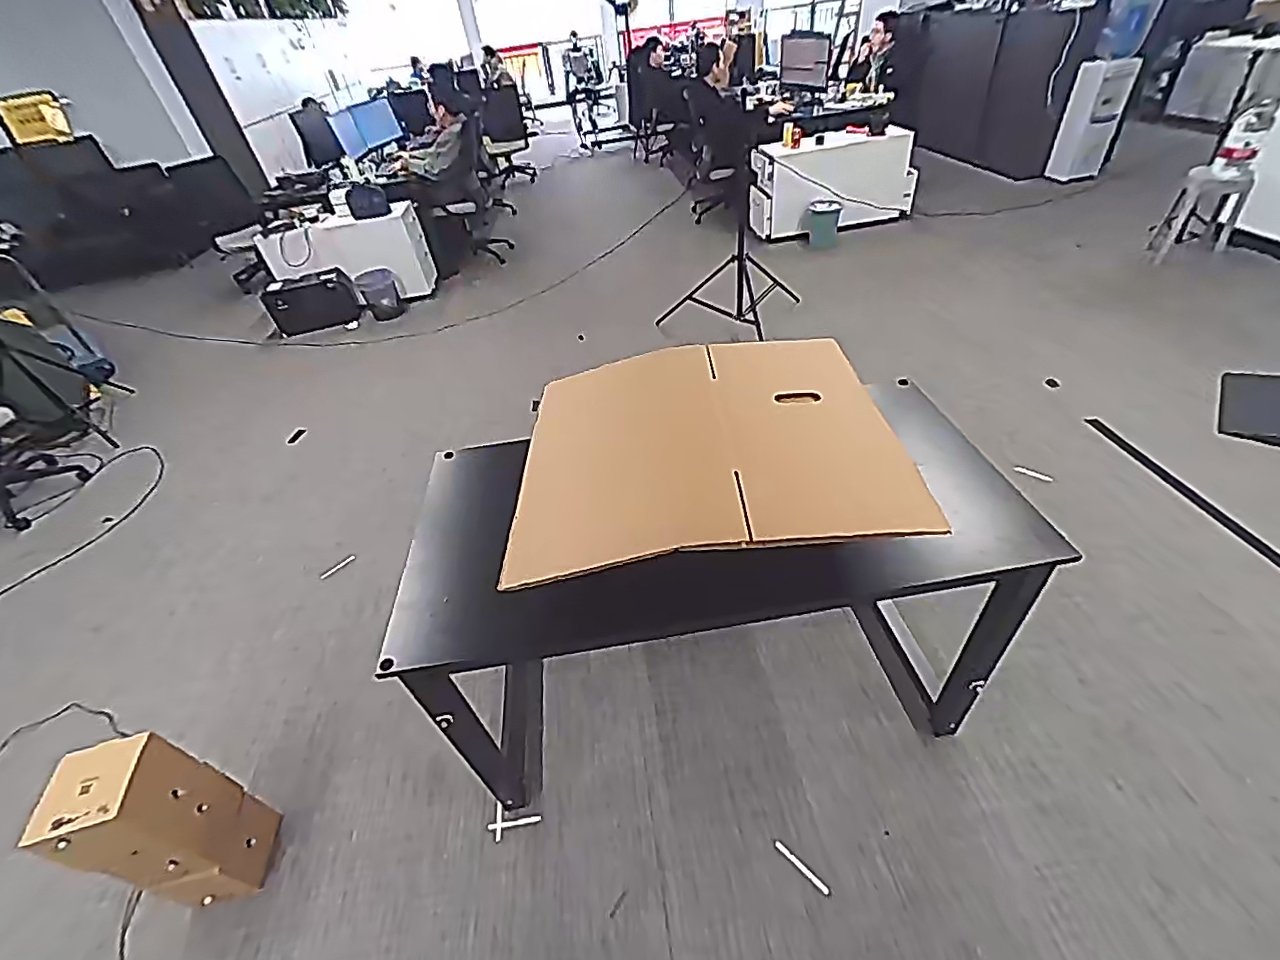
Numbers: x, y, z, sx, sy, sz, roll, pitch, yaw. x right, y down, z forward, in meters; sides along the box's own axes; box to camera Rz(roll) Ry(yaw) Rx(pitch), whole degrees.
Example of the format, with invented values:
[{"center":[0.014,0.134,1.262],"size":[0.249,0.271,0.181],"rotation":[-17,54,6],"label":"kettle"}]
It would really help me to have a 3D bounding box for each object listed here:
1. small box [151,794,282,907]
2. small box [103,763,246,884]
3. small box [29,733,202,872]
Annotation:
[{"center":[-1.025,0.912,1.332],"size":[0.168,0.176,0.179],"rotation":[-12,41,-3],"label":"small box"},{"center":[-1.046,0.787,1.231],"size":[0.168,0.176,0.179],"rotation":[-13,39,-7],"label":"small box"},{"center":[-1.064,0.666,1.121],"size":[0.168,0.176,0.179],"rotation":[-15,40,-8],"label":"small box"}]
